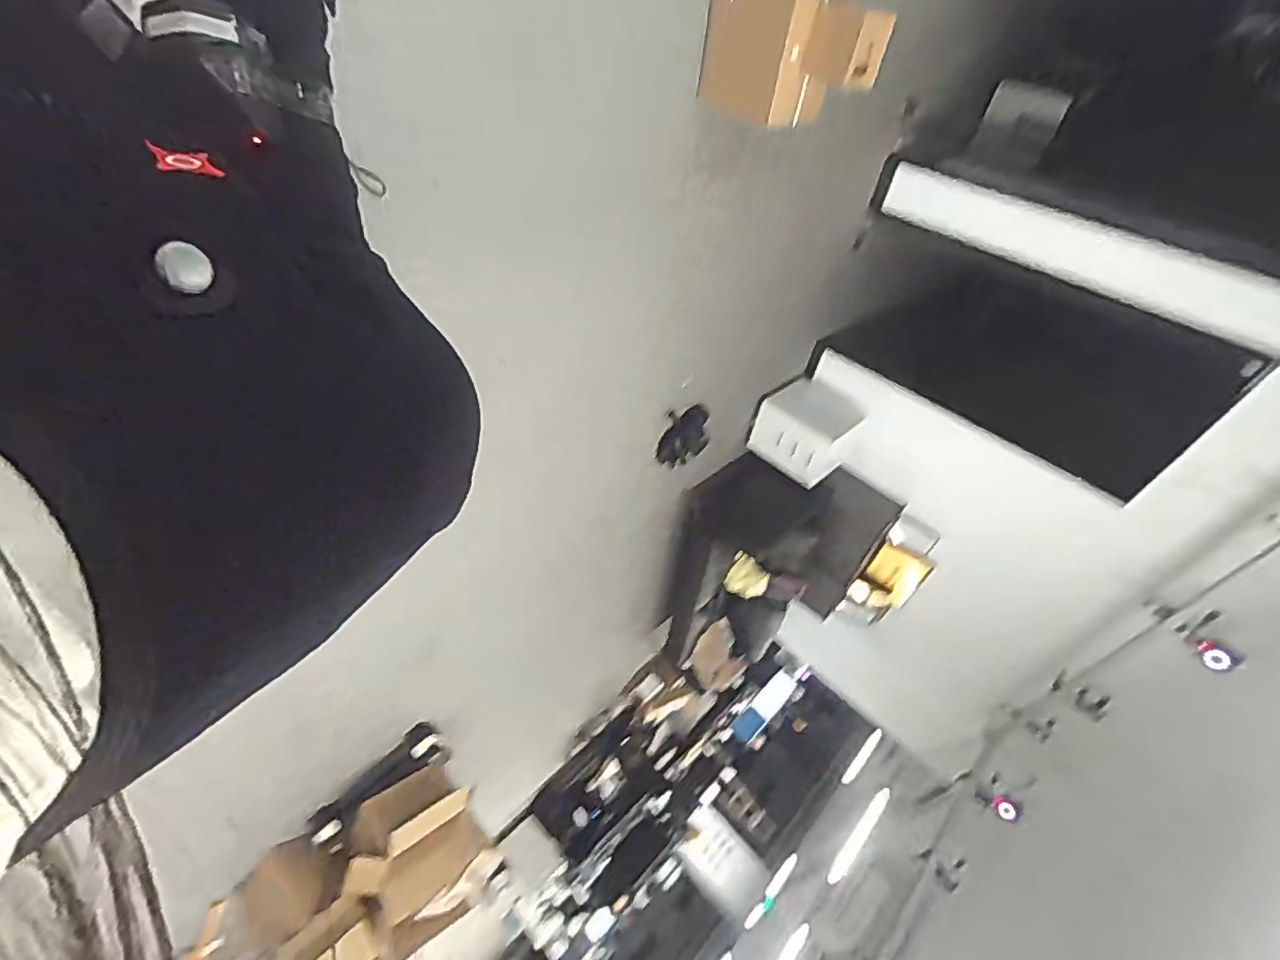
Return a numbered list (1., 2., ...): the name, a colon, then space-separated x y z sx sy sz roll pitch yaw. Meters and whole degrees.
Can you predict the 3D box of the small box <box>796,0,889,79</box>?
1. small box: 0.595 -1.330 1.613 0.168 0.176 0.179 -25 143 -37
